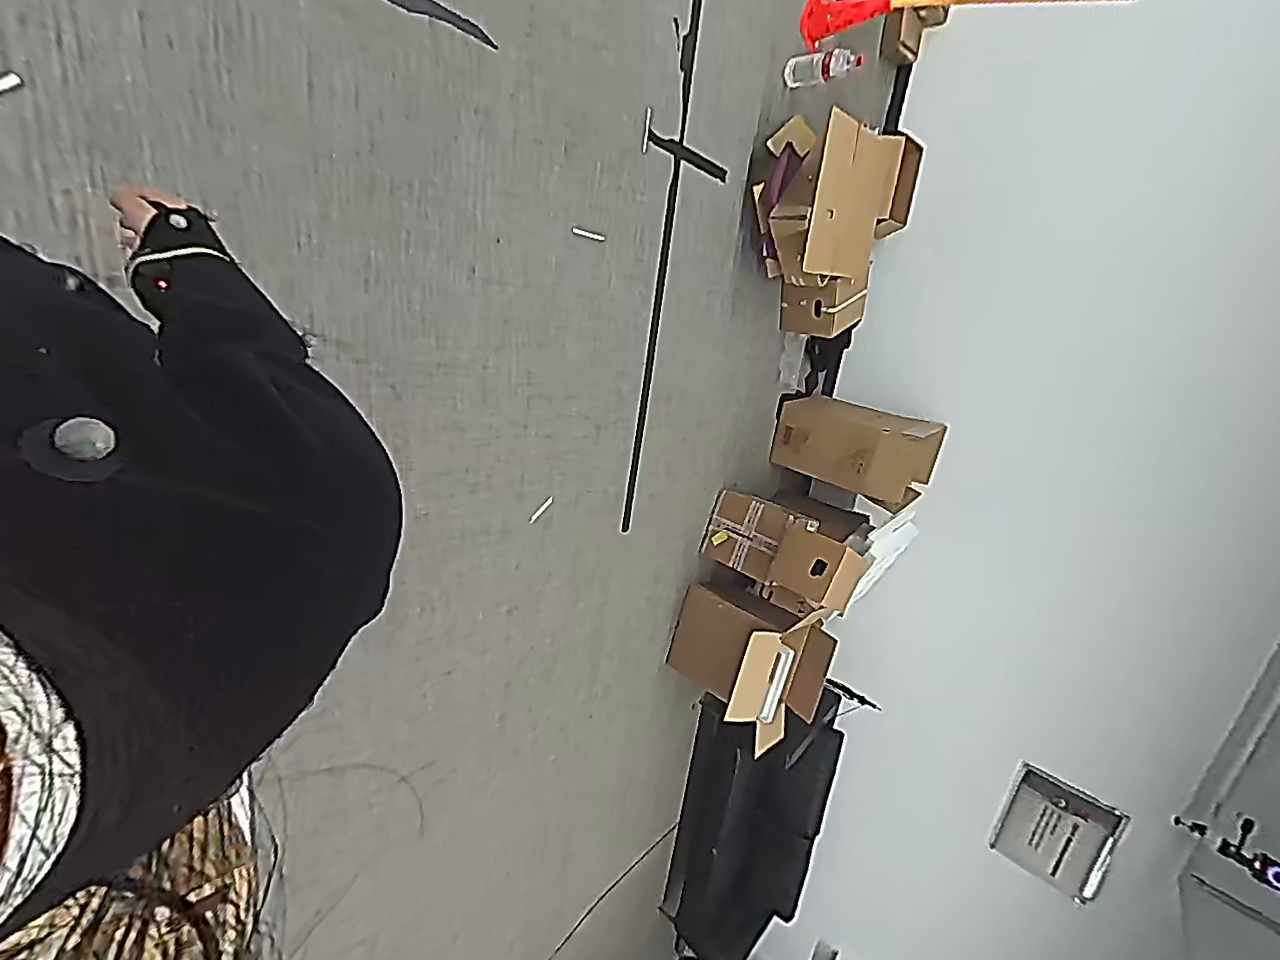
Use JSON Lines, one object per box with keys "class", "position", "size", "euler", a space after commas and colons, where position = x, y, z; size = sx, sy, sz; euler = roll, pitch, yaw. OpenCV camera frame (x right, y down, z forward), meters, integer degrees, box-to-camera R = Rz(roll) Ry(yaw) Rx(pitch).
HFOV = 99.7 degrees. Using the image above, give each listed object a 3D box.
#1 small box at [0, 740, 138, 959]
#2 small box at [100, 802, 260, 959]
{"class": "small box", "position": [-0.758, 0.461, 0.677], "size": [0.168, 0.176, 0.179], "euler": [-6, 112, -50]}
{"class": "small box", "position": [-0.706, 0.636, 0.827], "size": [0.168, 0.176, 0.179], "euler": [-7, 113, -49]}
